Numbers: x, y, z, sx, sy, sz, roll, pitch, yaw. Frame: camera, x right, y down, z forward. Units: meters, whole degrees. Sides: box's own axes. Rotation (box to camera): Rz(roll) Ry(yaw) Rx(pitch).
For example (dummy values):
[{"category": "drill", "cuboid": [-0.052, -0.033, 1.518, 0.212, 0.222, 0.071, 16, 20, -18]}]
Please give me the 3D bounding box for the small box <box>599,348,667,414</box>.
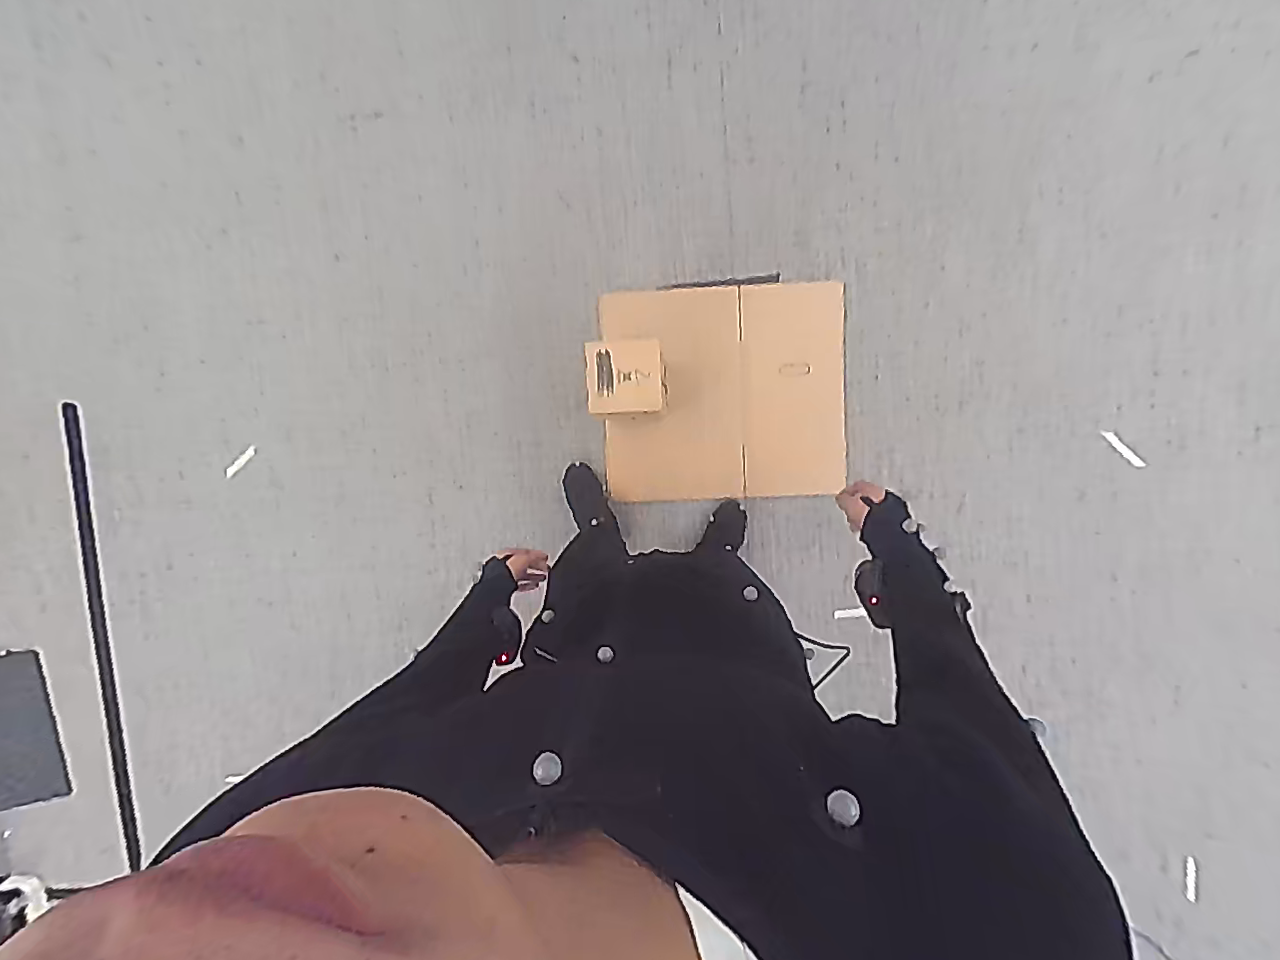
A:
[{"category": "small box", "cuboid": [-0.016, -0.269, 1.495, 0.179, 0.176, 0.168, -2, 95, 4]}]
